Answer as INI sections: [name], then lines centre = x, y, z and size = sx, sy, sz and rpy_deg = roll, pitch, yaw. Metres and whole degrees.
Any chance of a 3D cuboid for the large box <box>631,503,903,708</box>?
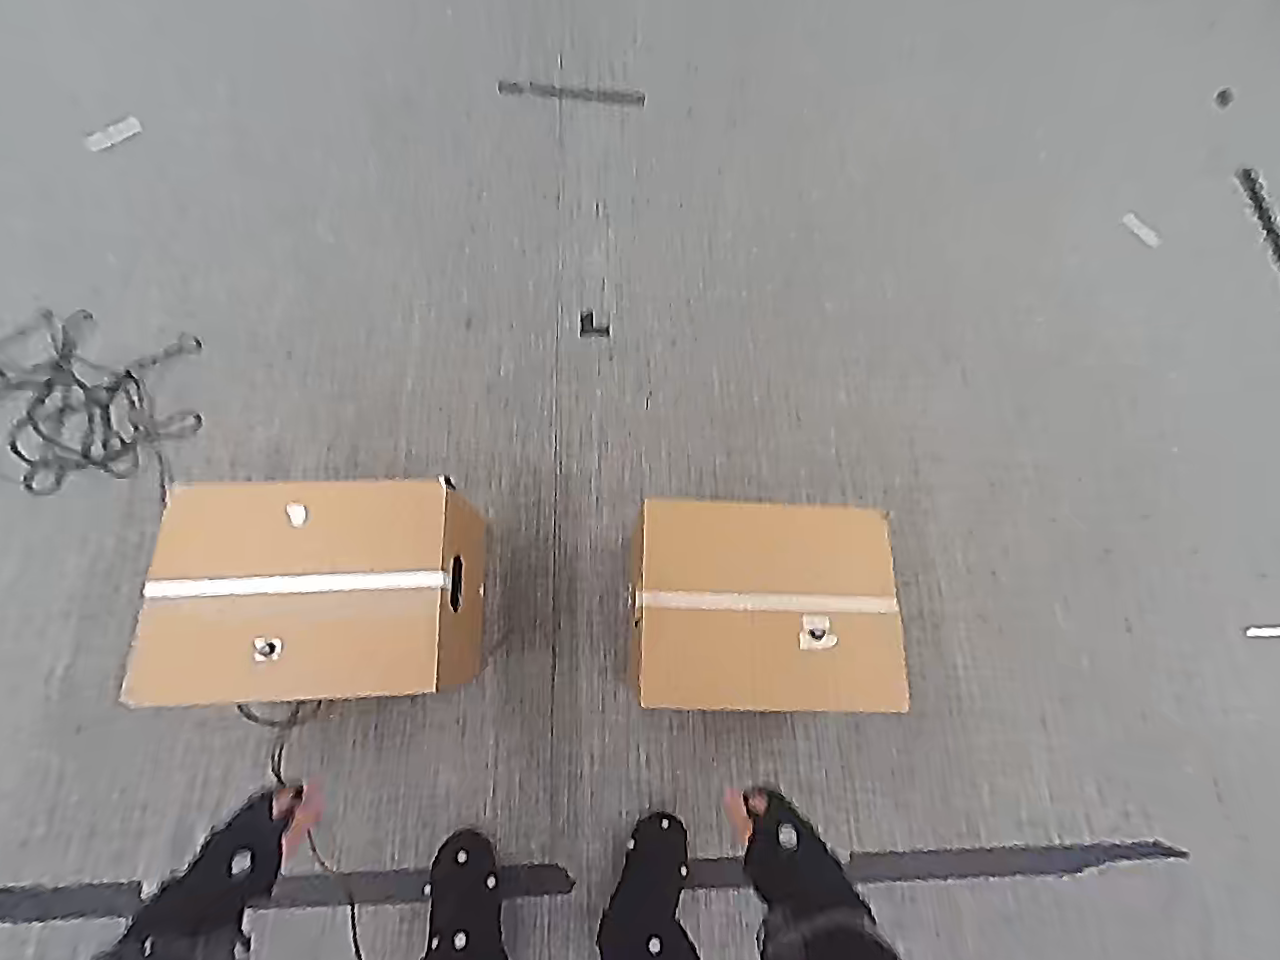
[large box]
centre = 0.192, 0.237, 0.991
size = 0.408, 0.320, 0.320
rpy_deg = 3, 73, -5
